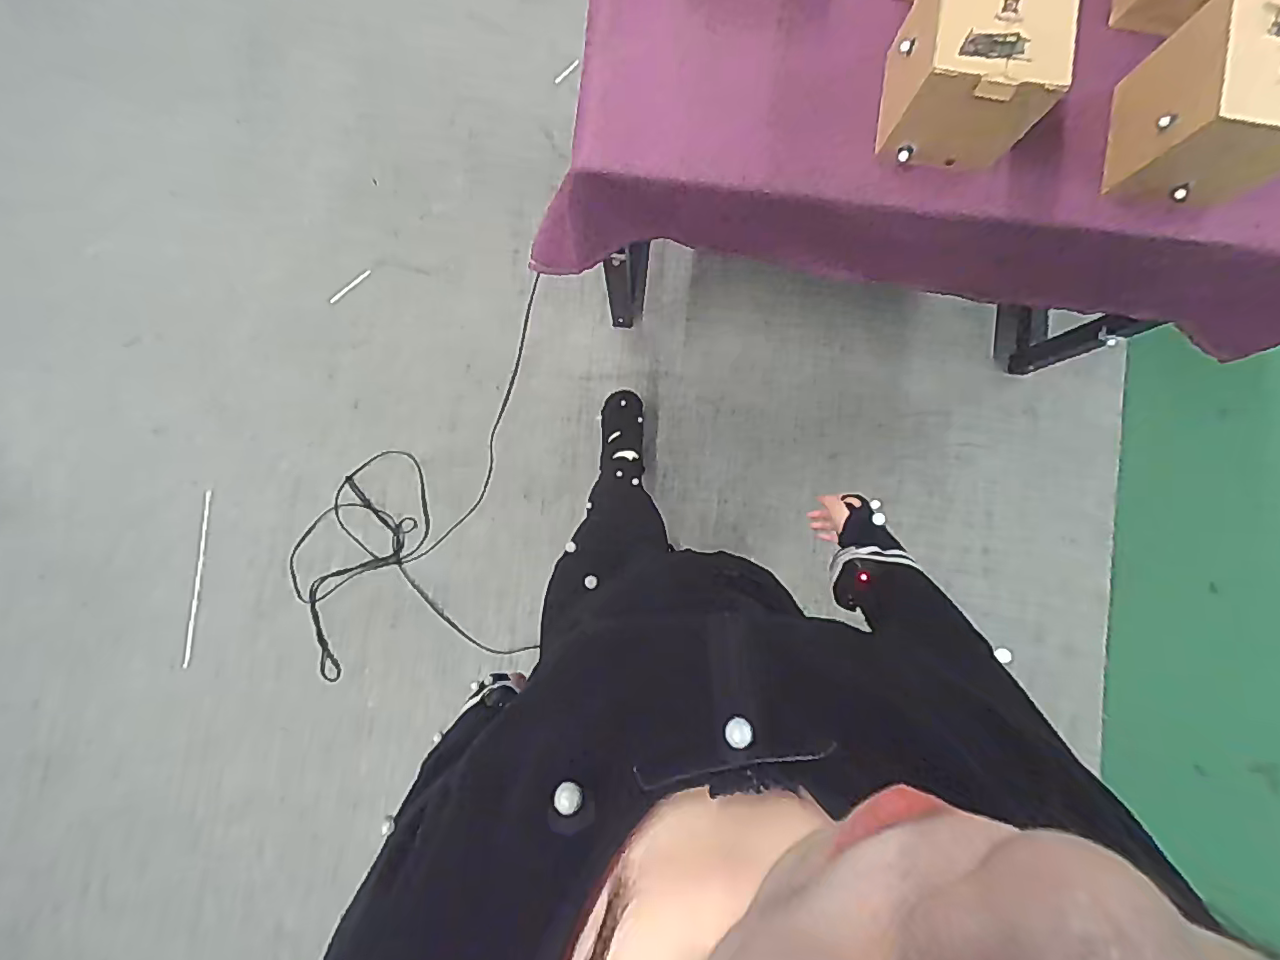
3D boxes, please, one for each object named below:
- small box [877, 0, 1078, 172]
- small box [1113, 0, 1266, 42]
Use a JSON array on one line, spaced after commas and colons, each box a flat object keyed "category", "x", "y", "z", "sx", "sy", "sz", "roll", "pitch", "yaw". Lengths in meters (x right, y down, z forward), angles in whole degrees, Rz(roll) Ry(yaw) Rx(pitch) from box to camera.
[{"category": "small box", "x": 0.438, "y": -0.550, "z": 0.725, "sx": 0.168, "sy": 0.176, "sz": 0.179, "roll": 8, "pitch": 85, "yaw": 1}, {"category": "small box", "x": 0.799, "y": -0.751, "z": 0.736, "sx": 0.168, "sy": 0.176, "sz": 0.179, "roll": 10, "pitch": 86, "yaw": 2}]
